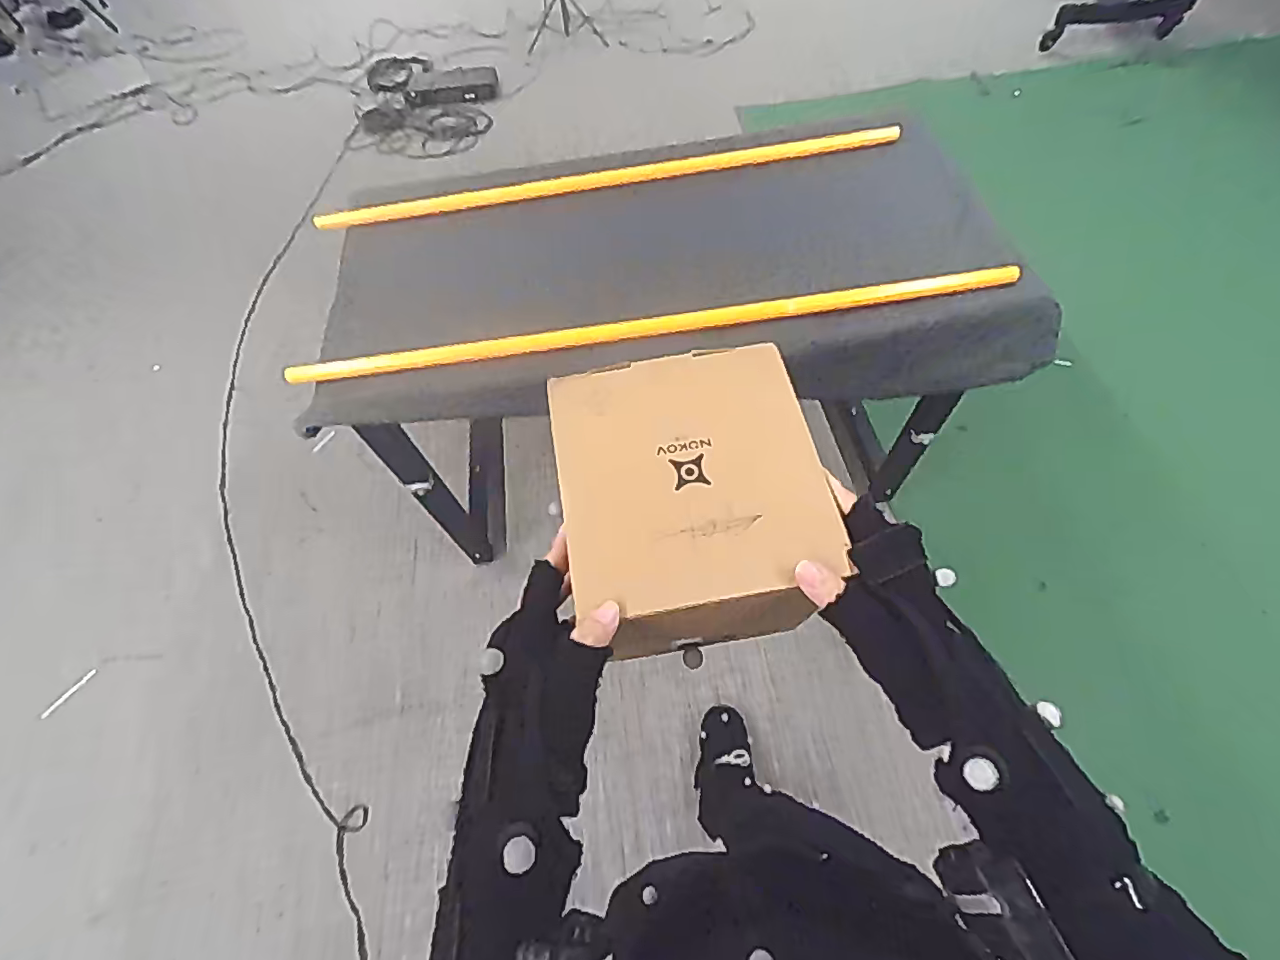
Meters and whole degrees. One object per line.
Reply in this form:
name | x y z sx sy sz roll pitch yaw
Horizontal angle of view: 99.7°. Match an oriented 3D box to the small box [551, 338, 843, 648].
small box | 0.030 0.019 0.425 0.168 0.176 0.179 -10 64 -2
